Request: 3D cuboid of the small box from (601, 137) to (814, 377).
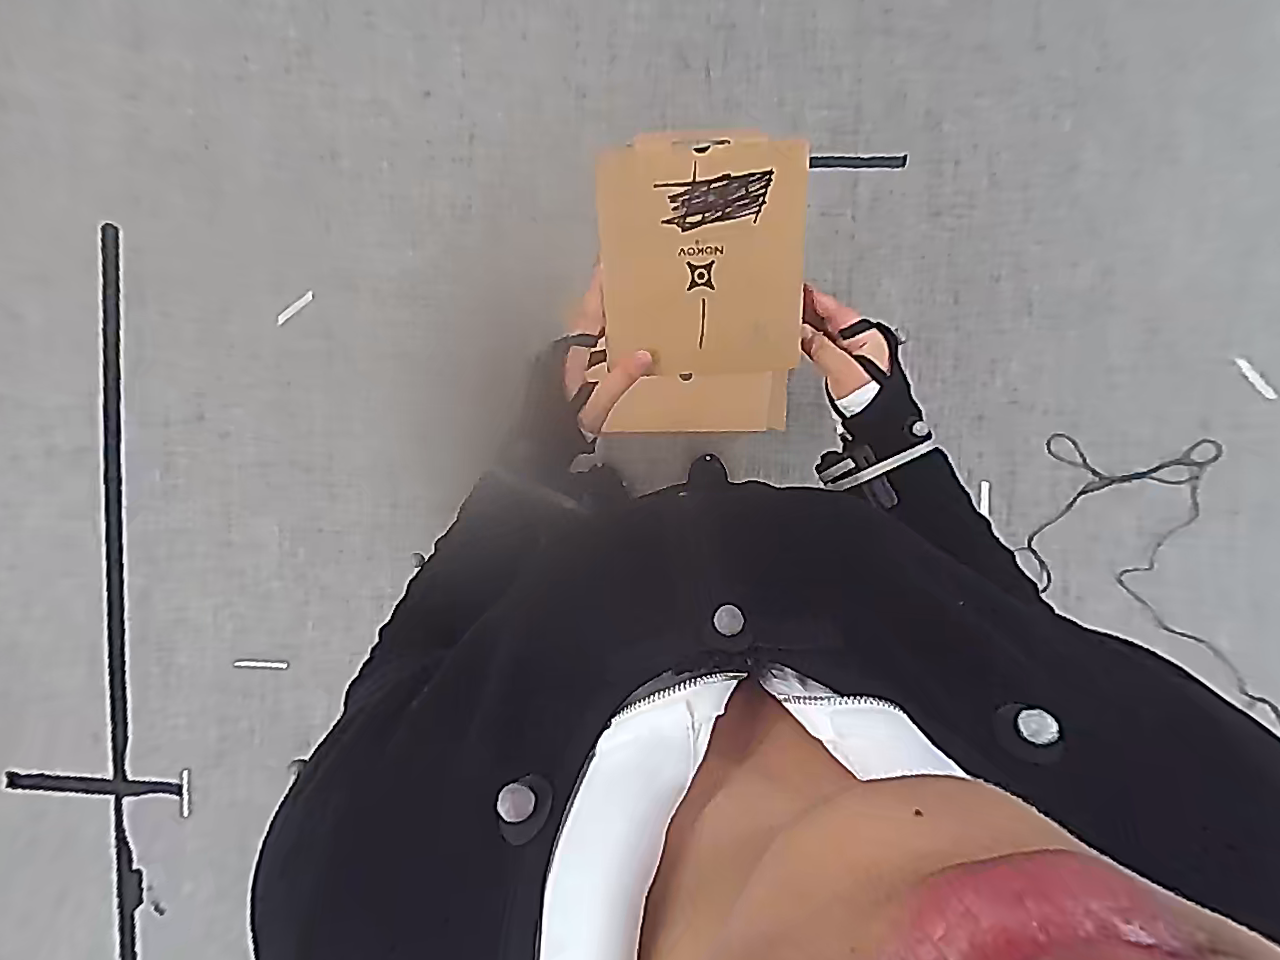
[{"bbox_3d":[0.051,-0.193,0.504,0.168,0.176,0.179,-2,107,0],"label":"small box"}]
